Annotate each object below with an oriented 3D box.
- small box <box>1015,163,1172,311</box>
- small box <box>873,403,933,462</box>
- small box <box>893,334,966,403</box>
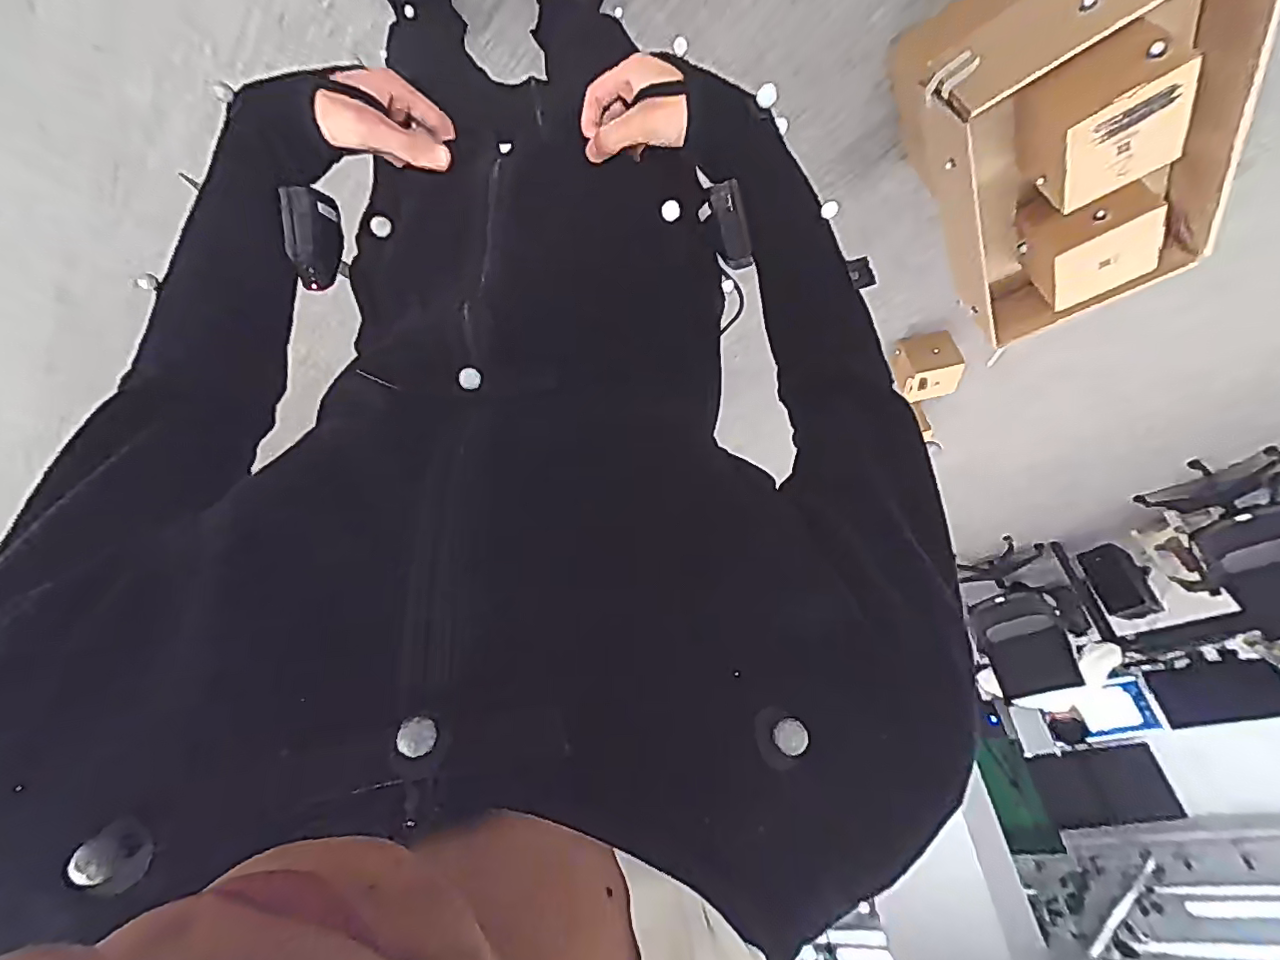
[{"bbox_3d":[0.889,-0.483,1.077,0.179,0.176,0.168,-27,141,23],"label":"small box"},{"bbox_3d":[1.125,-0.205,2.322,0.179,0.176,0.168,-15,146,12],"label":"small box"},{"bbox_3d":[1.056,-0.412,1.991,0.179,0.176,0.168,-11,147,7],"label":"small box"}]
